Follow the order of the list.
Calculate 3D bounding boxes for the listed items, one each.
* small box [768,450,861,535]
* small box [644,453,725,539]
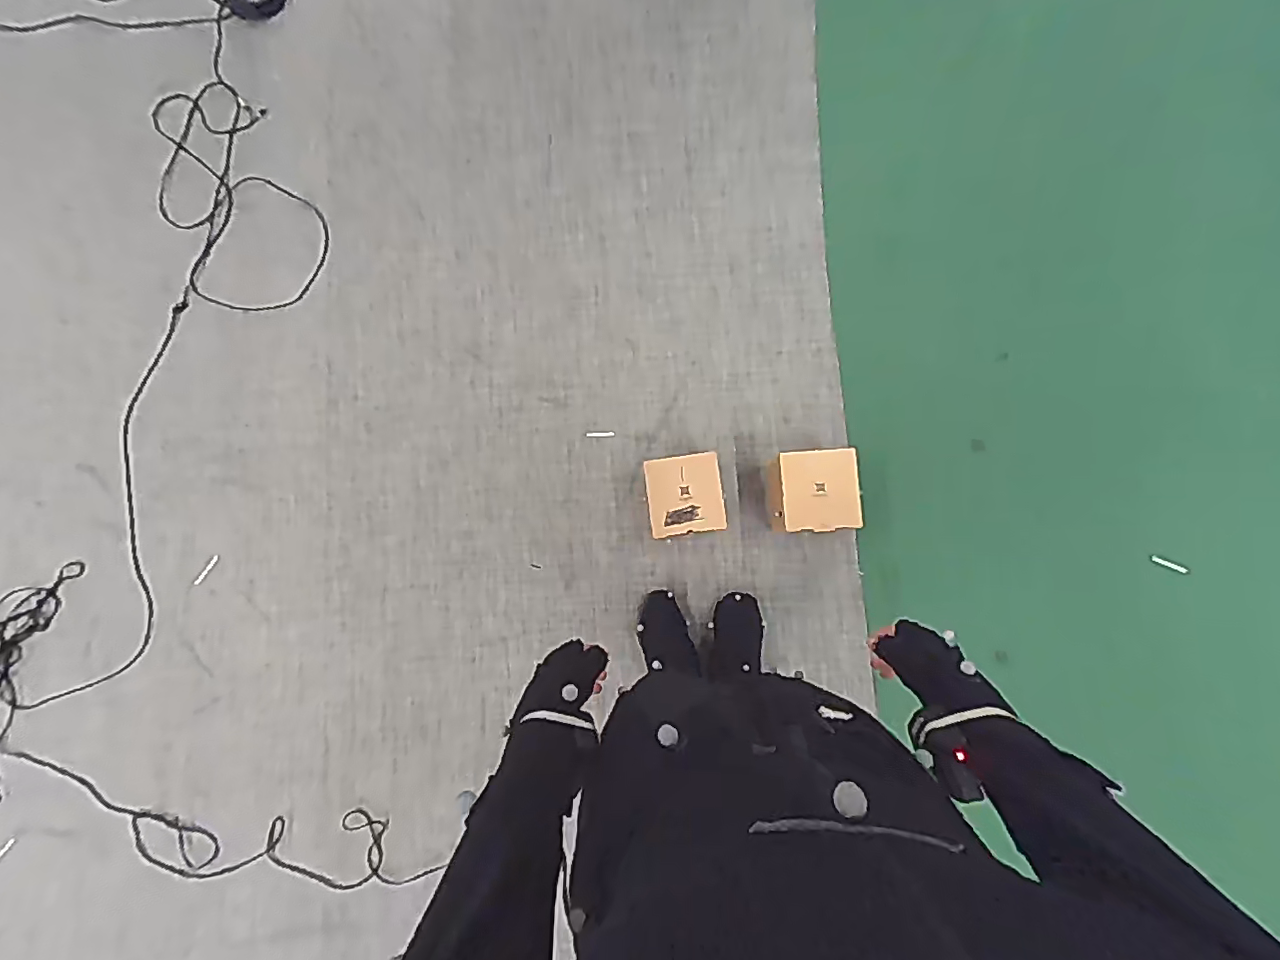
[{"bbox_3d":[0.396,0.034,1.254,0.168,0.176,0.179,-4,83,4],"label":"small box"},{"bbox_3d":[0.104,0.044,1.272,0.168,0.176,0.179,-7,82,3],"label":"small box"}]
